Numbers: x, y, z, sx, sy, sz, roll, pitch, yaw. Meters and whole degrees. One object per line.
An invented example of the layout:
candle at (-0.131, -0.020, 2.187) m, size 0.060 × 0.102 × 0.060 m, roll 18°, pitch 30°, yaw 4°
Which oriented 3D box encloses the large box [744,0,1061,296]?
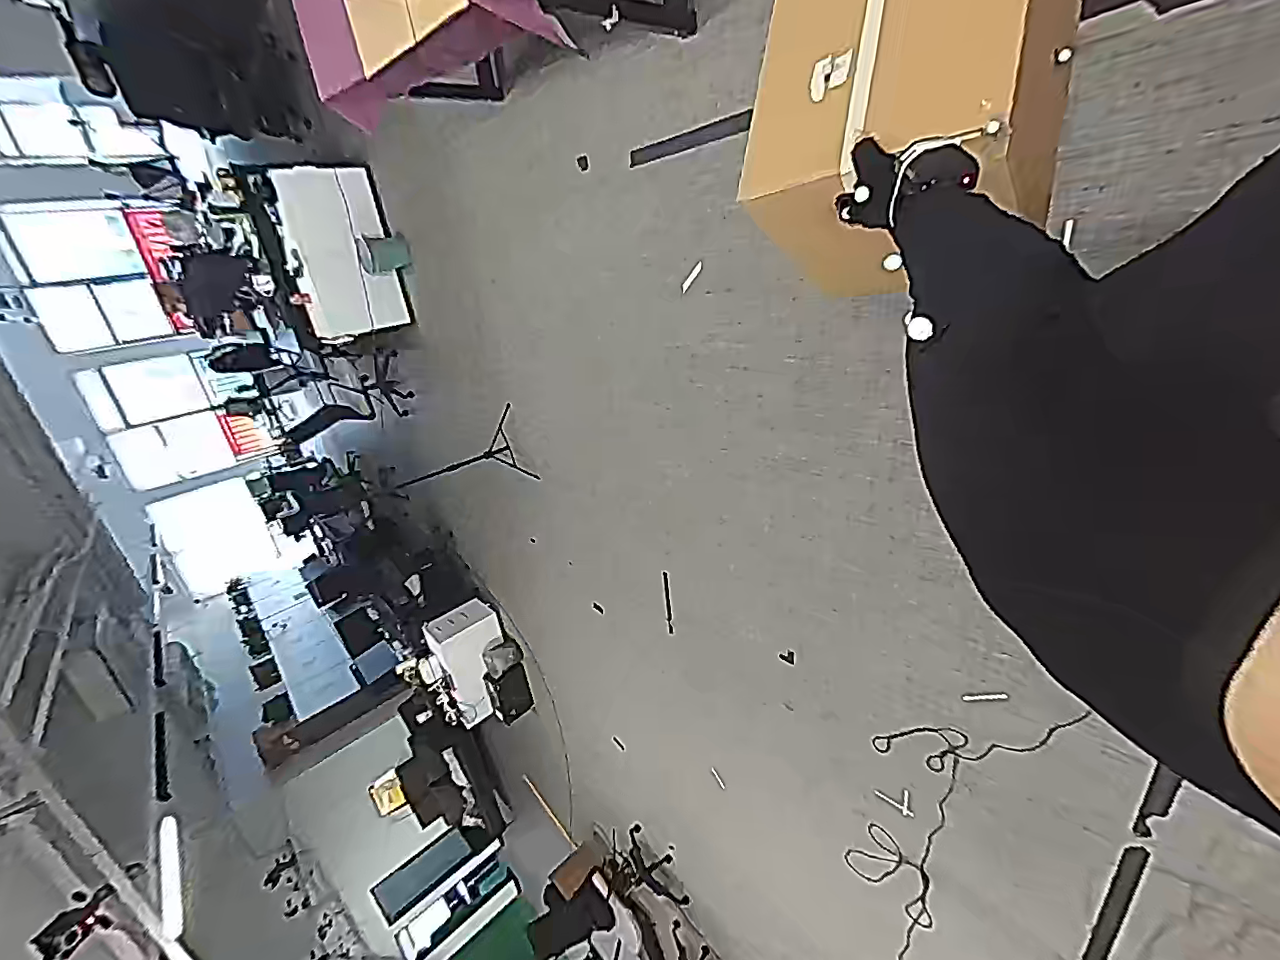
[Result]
large box at (0.384, -0.532, 0.772) m, size 0.320 × 0.320 × 0.408 m, roll 7°, pitch 85°, yaw 42°
